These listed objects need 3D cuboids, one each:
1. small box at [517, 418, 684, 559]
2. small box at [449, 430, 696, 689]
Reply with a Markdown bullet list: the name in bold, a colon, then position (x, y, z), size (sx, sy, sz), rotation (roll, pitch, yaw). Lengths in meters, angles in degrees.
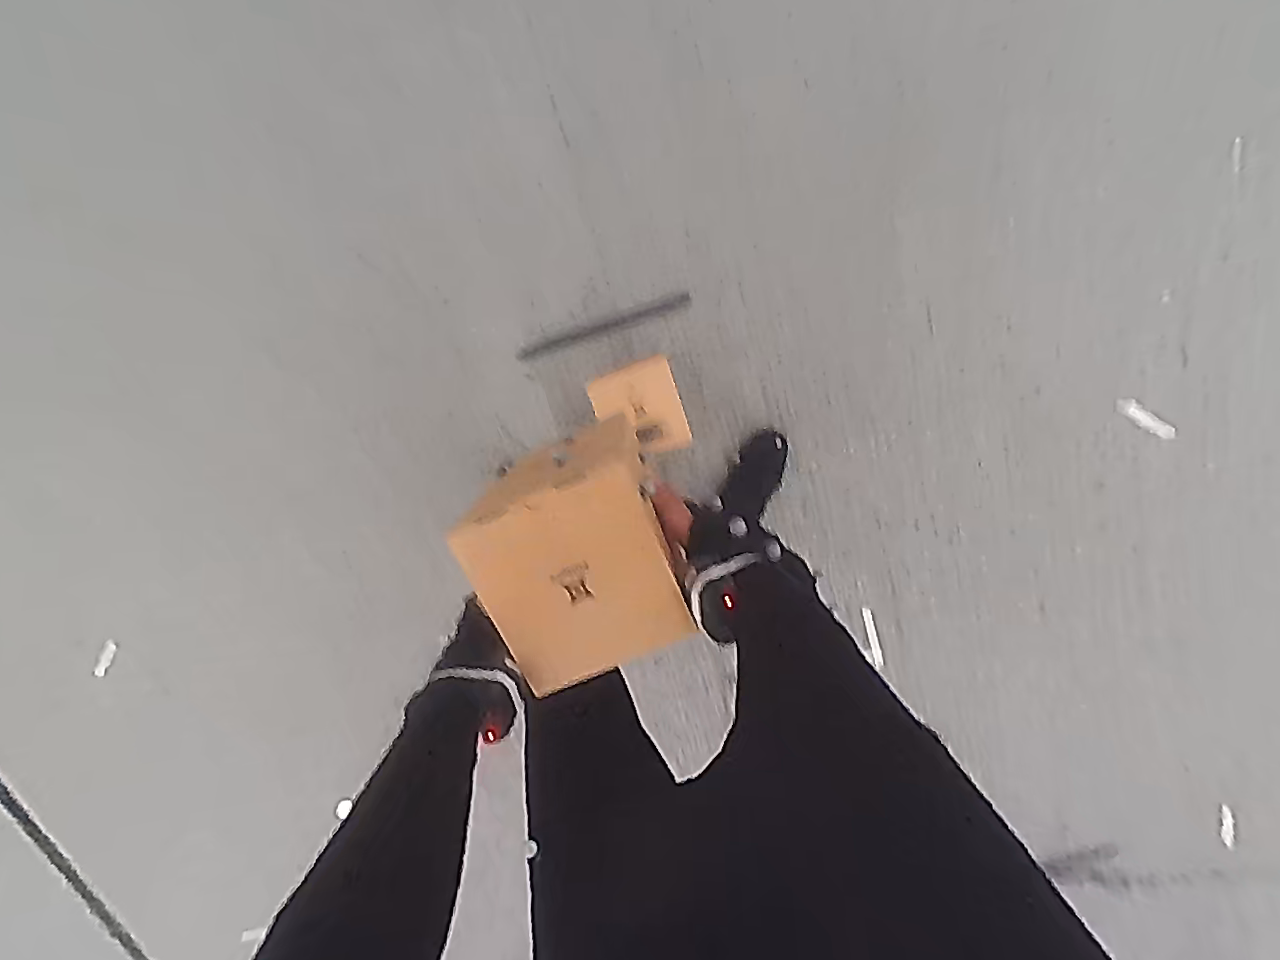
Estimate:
- **small box**: position (-0.058, 0.029, 0.709), size (0.168, 0.176, 0.179), rotation (-24, 105, 5)
- **small box**: position (-0.056, 0.068, 0.549), size (0.168, 0.176, 0.179), rotation (-24, 104, 5)
